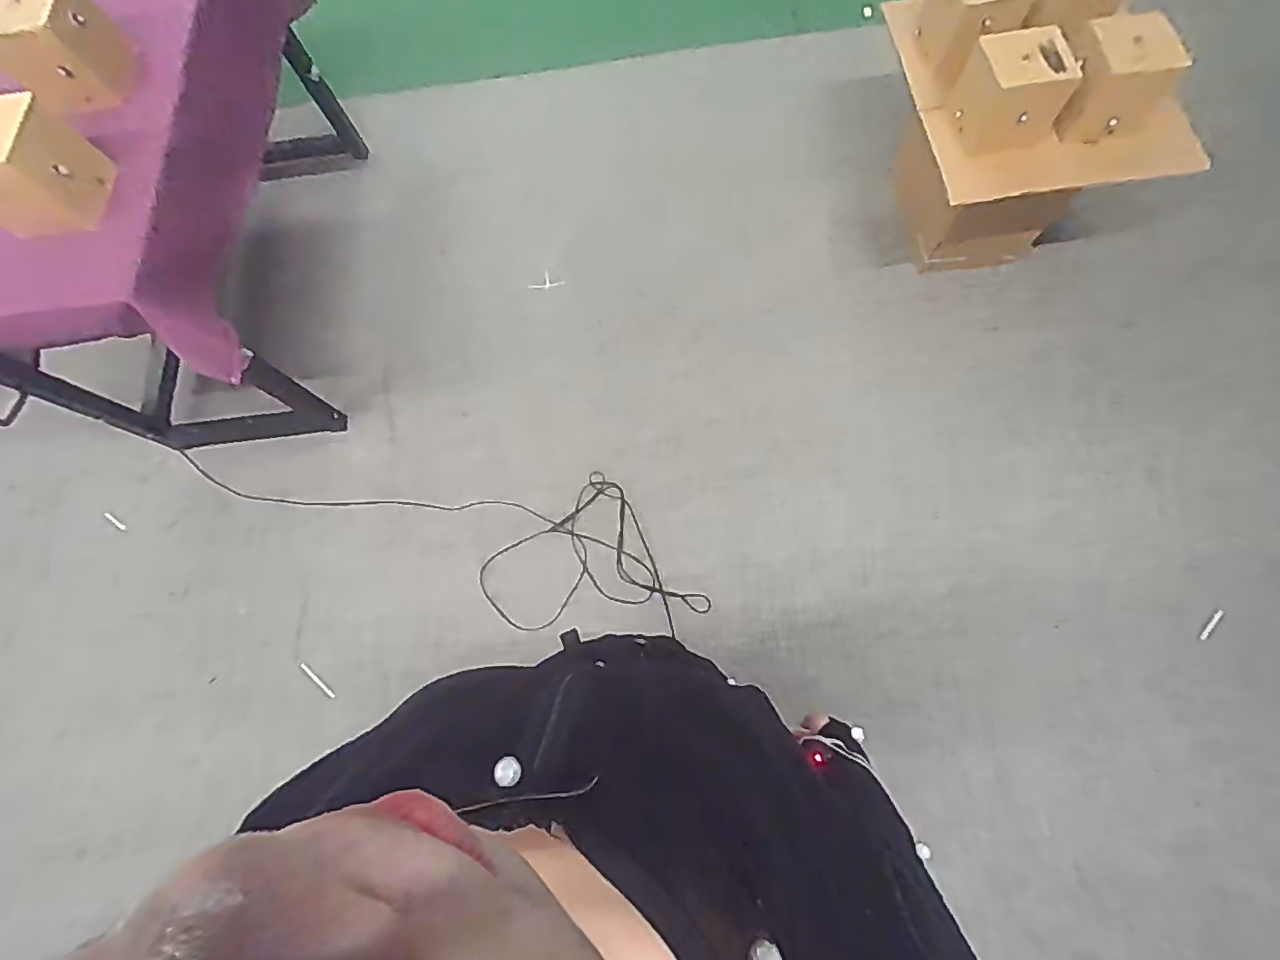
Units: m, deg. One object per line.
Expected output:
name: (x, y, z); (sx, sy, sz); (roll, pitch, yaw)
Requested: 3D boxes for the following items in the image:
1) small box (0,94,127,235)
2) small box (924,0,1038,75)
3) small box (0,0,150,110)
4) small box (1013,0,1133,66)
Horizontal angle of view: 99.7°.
small box: (-1.168, -0.604, 1.051); (0.179, 0.176, 0.168); (-2, 73, 5)
small box: (0.824, -1.135, 1.322); (0.179, 0.176, 0.168); (-10, 73, 0)
small box: (-1.203, -0.922, 1.149); (0.168, 0.176, 0.179); (-4, 72, 3)
small box: (1.038, -1.151, 1.310); (0.179, 0.176, 0.168); (-7, 71, 0)
